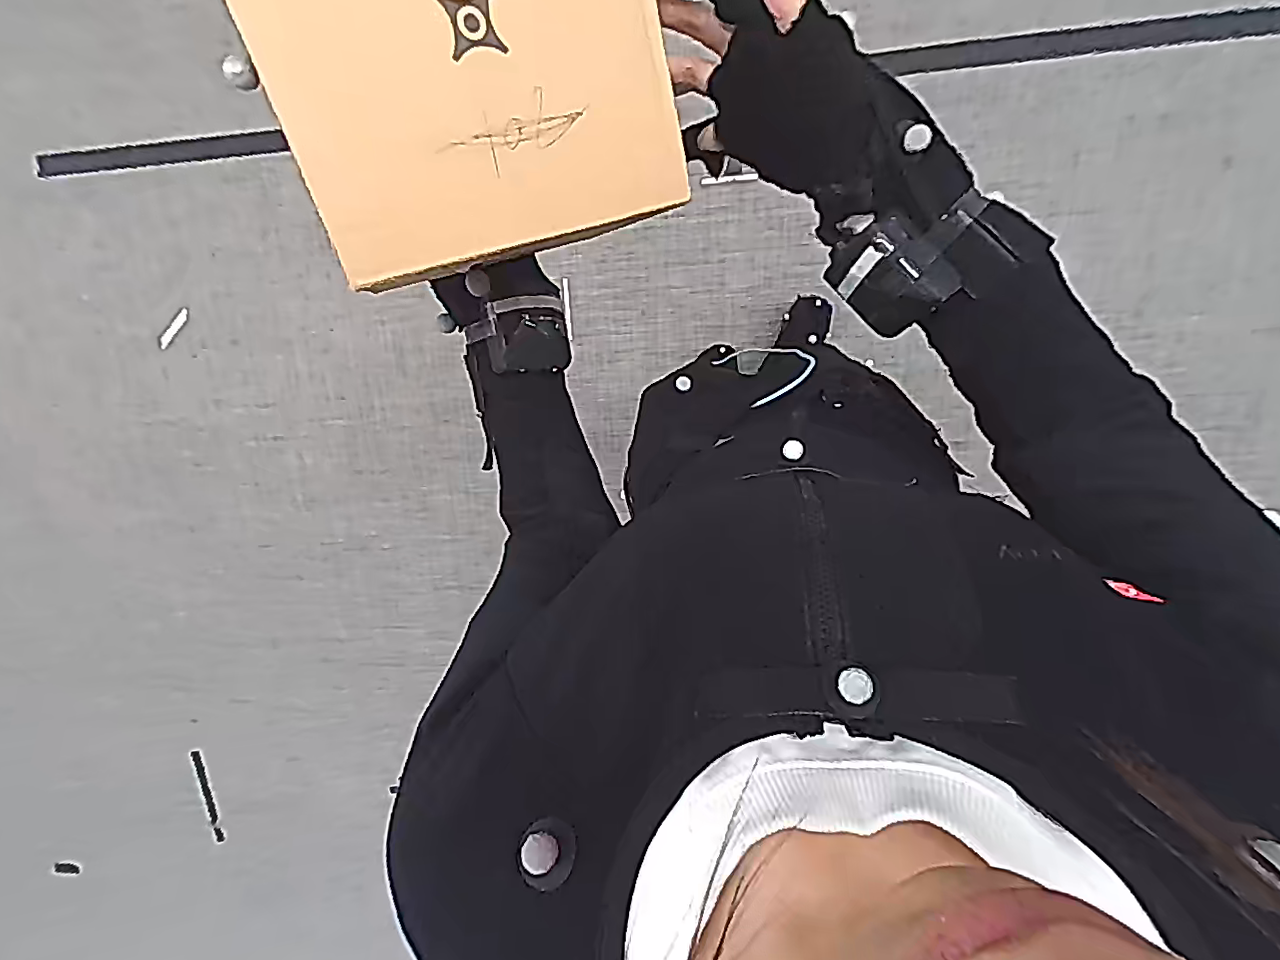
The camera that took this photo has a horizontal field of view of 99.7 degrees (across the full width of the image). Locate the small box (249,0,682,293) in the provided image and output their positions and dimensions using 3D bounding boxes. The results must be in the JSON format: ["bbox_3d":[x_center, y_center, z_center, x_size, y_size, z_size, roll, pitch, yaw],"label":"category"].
[{"bbox_3d":[-0.100,-0.213,0.301,0.168,0.176,0.179,-21,113,-15],"label":"small box"}]
